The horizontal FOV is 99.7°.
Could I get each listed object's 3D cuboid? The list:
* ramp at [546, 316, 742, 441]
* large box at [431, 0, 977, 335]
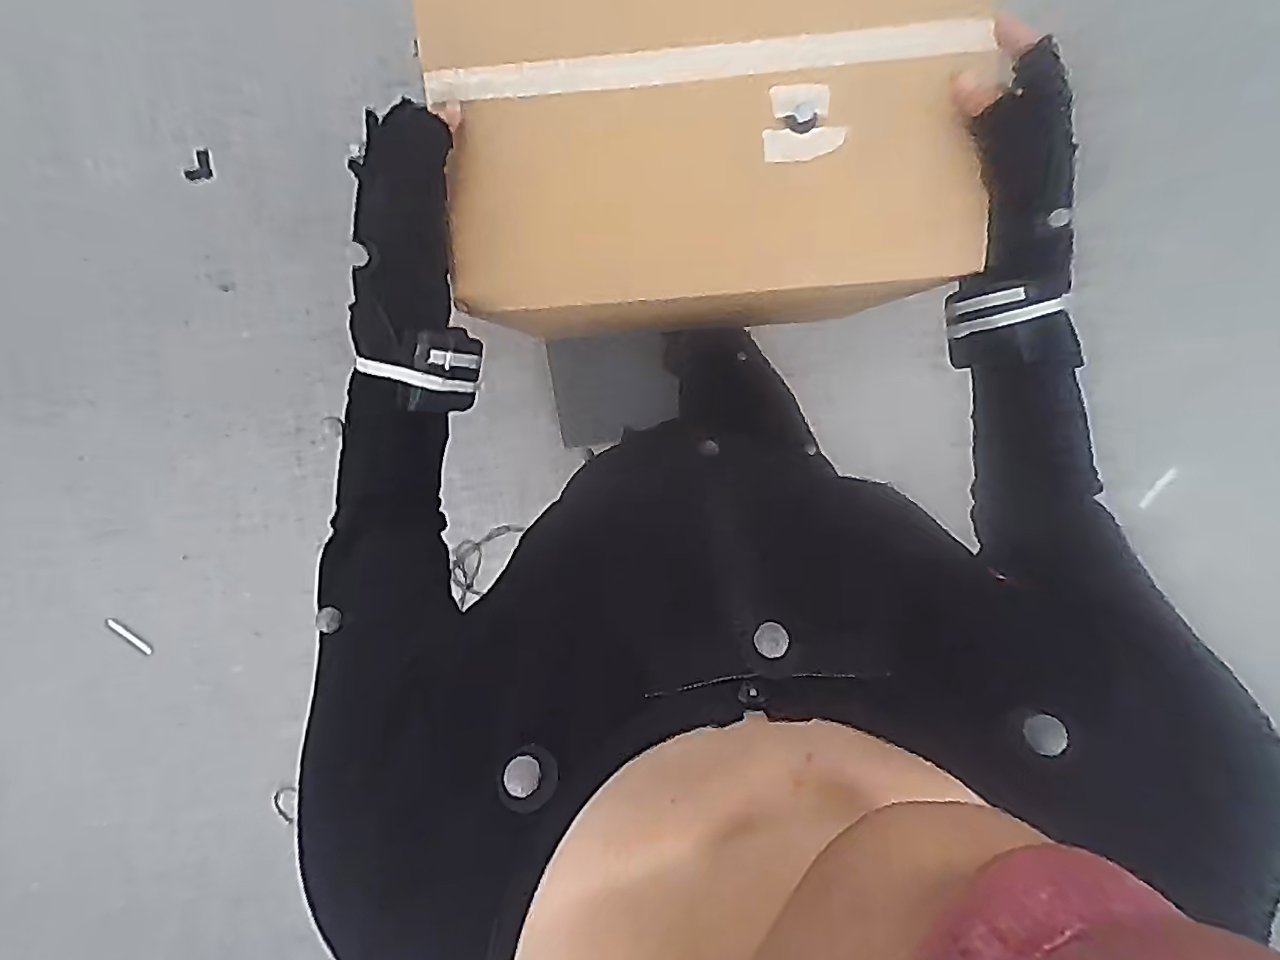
[{"bbox_3d":[-0.026,-0.605,1.304,0.509,0.206,0.991,-10,99,-1],"label":"ramp"},{"bbox_3d":[0.048,-0.335,0.548,0.408,0.320,0.320,-4,100,1],"label":"large box"}]
